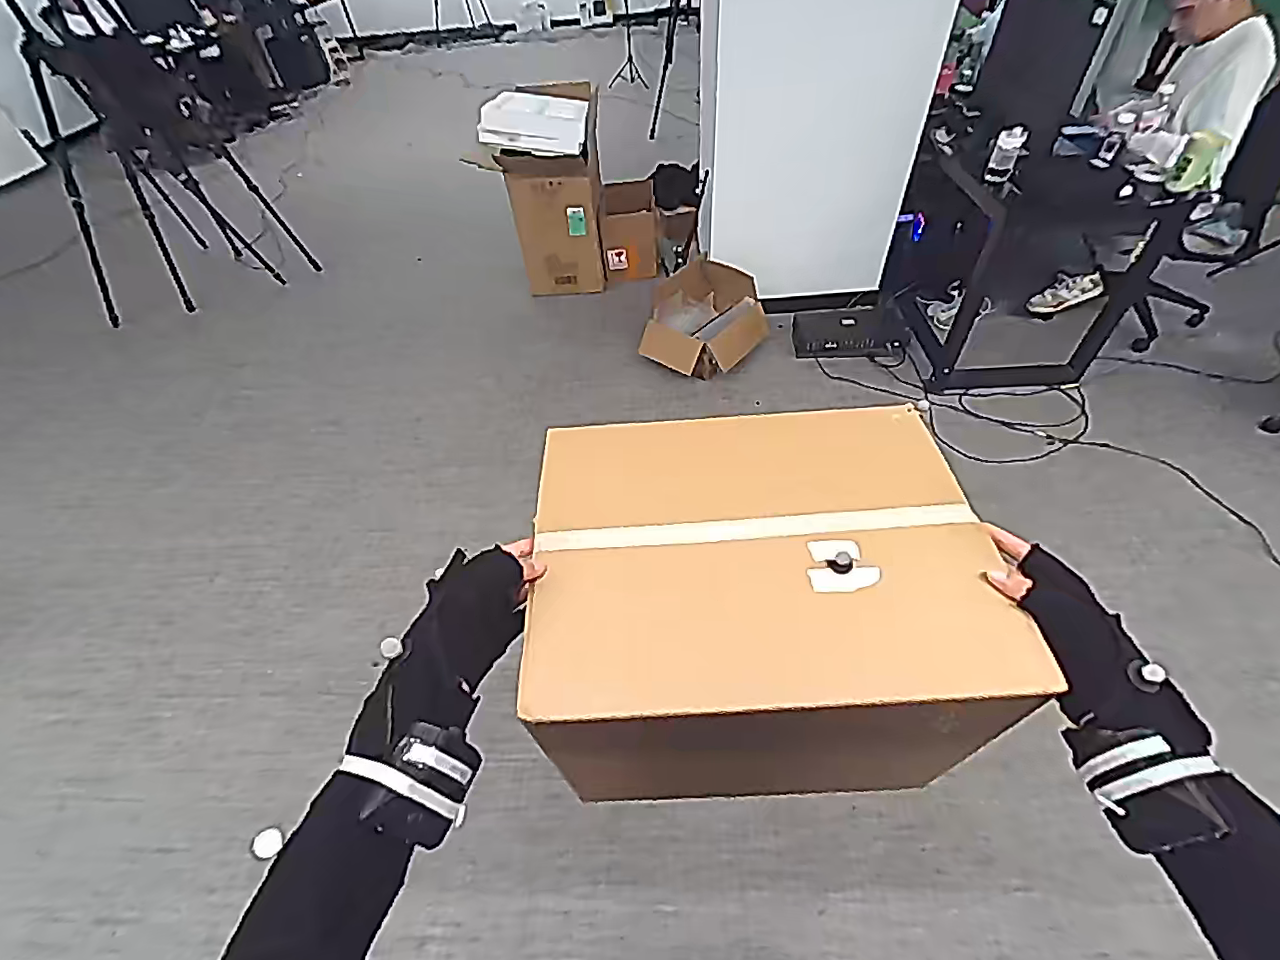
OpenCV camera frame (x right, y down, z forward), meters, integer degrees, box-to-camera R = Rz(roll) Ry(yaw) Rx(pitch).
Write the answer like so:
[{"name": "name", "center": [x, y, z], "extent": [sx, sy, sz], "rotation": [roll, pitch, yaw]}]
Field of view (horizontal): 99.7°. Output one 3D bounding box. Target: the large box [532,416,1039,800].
[{"name": "large box", "center": [0.112, 0.153, 0.625], "extent": [0.408, 0.320, 0.320], "rotation": [-4, 49, 1]}]
